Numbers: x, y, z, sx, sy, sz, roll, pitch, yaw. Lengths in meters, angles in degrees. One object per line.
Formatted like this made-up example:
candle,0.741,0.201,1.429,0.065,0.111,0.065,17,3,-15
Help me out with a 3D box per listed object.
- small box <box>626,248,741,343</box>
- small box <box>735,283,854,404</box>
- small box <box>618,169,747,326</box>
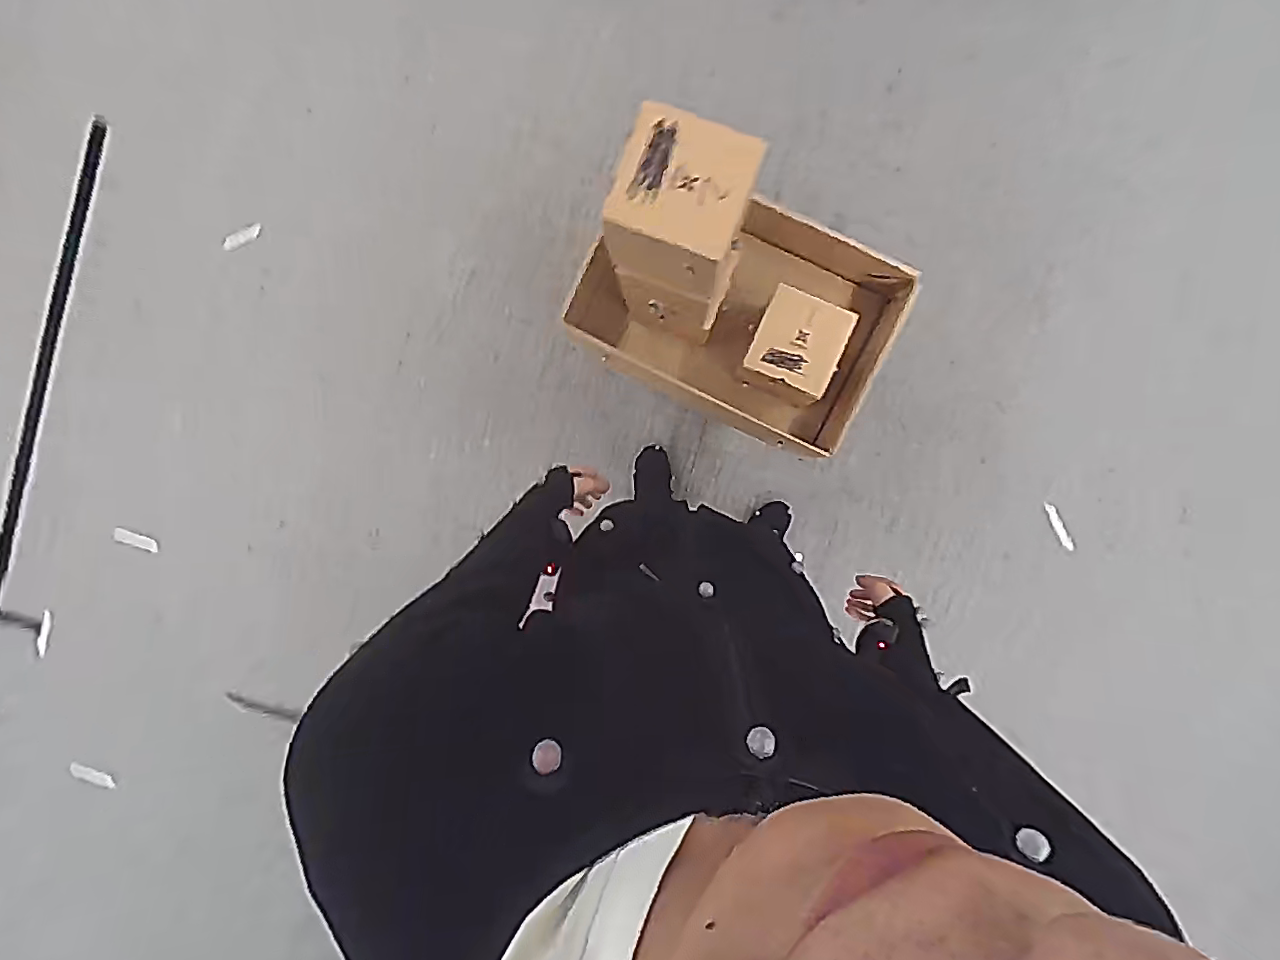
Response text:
small box,0.085,-0.399,1.115,0.179,0.176,0.168,23,94,0
small box,0.305,-0.268,1.112,0.168,0.176,0.179,24,93,1
small box,0.070,-0.397,0.952,0.168,0.176,0.179,21,93,2
